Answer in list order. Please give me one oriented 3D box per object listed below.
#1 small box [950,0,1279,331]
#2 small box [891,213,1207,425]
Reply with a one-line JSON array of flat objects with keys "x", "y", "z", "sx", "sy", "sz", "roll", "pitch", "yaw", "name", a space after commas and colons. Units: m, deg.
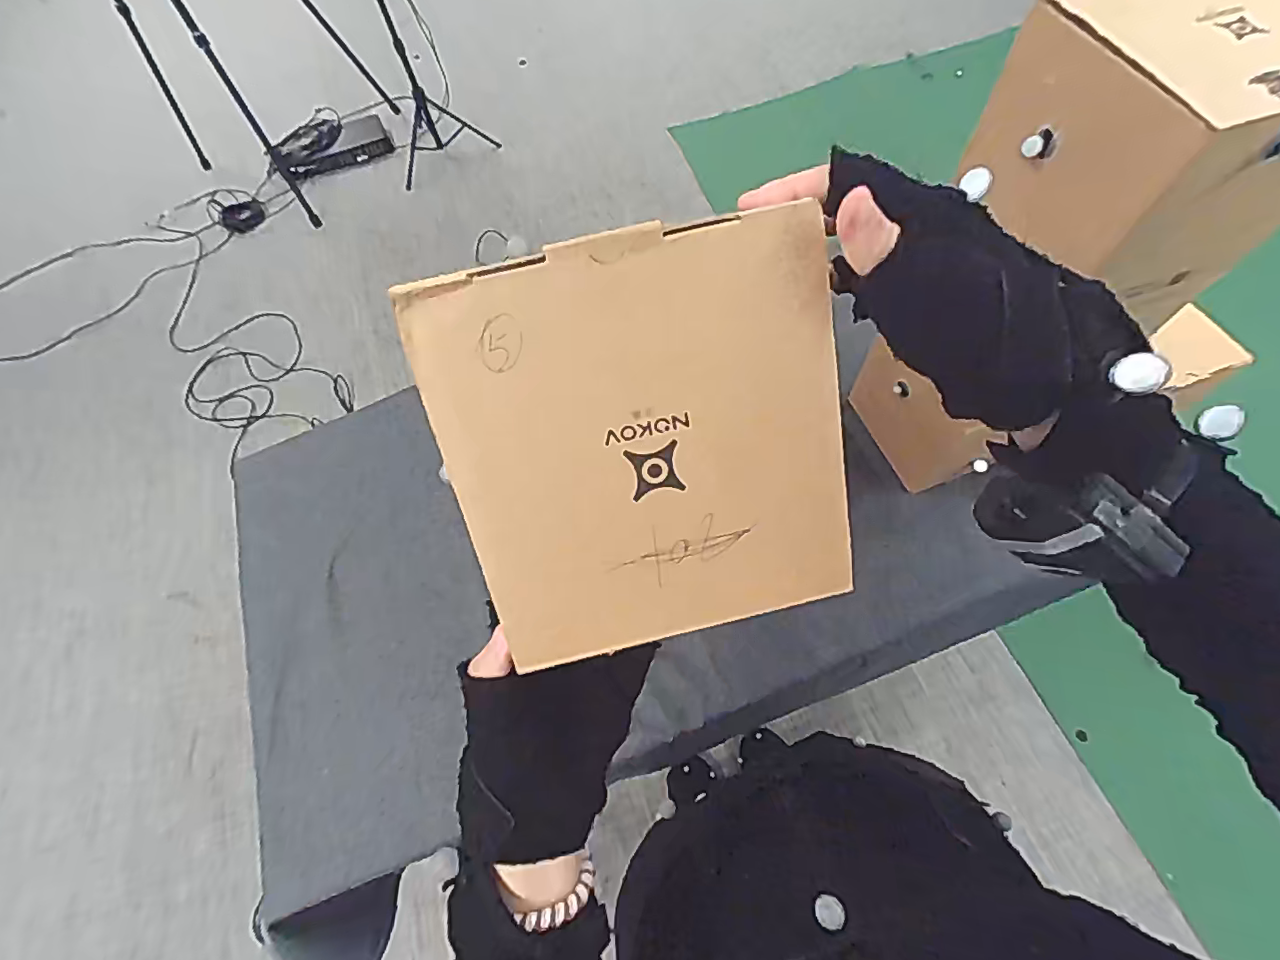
[{"x": 0.390, "y": -0.252, "z": 0.430, "sx": 0.168, "sy": 0.176, "sz": 0.179, "roll": -17, "pitch": 62, "yaw": -3, "name": "small box"}, {"x": 0.405, "y": -0.179, "z": 0.576, "sx": 0.168, "sy": 0.176, "sz": 0.179, "roll": -18, "pitch": 62, "yaw": -4, "name": "small box"}]
